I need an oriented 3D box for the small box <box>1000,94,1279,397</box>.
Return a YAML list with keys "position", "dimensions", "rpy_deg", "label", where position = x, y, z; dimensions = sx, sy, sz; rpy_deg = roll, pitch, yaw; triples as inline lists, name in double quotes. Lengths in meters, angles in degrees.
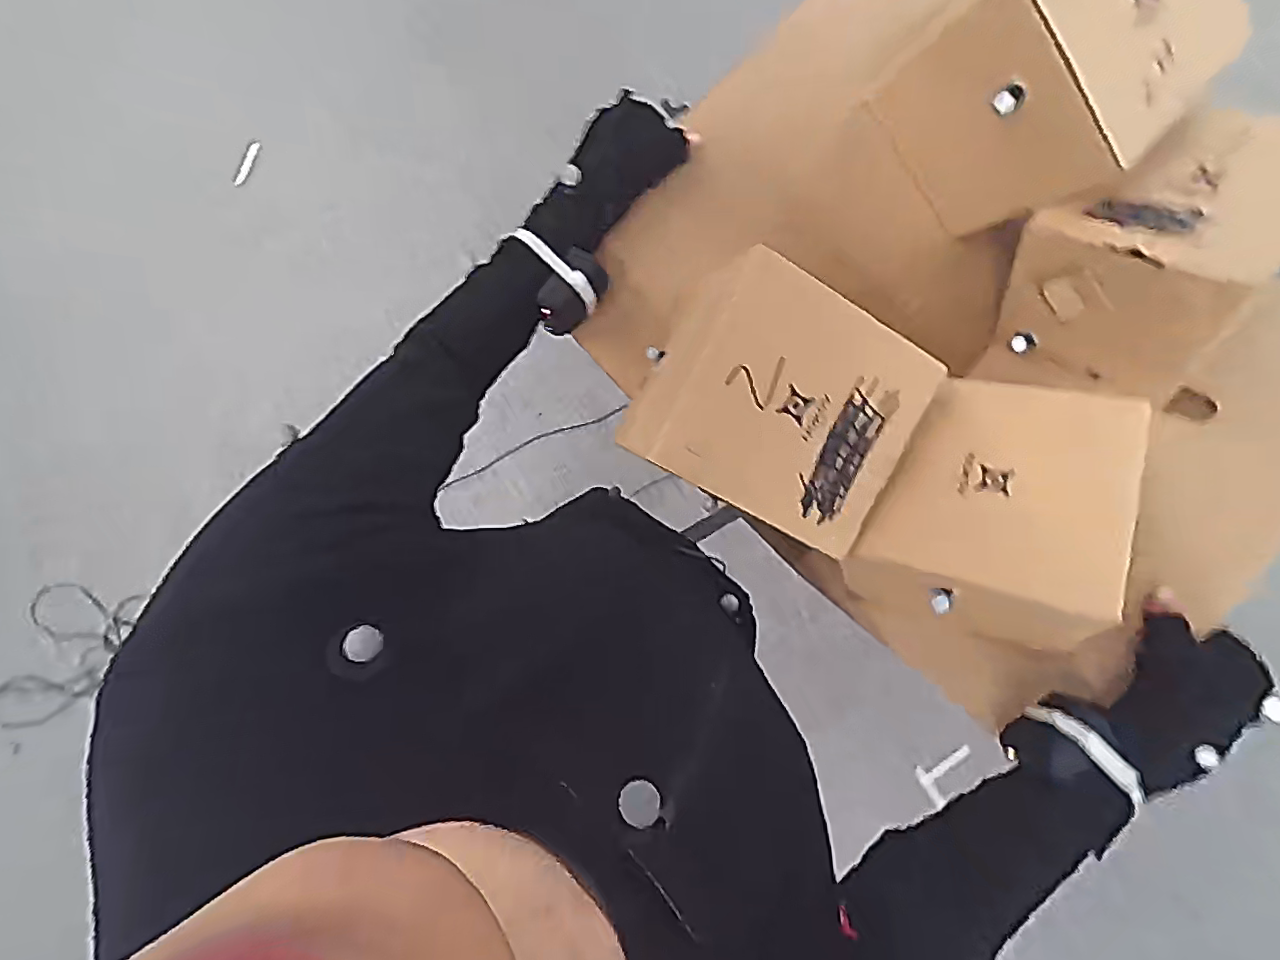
- position: [0.478, -0.212, 0.510]
  dimensions: [0.179, 0.176, 0.168]
  rpy_deg: [-44, 57, -5]
  label: "small box"
